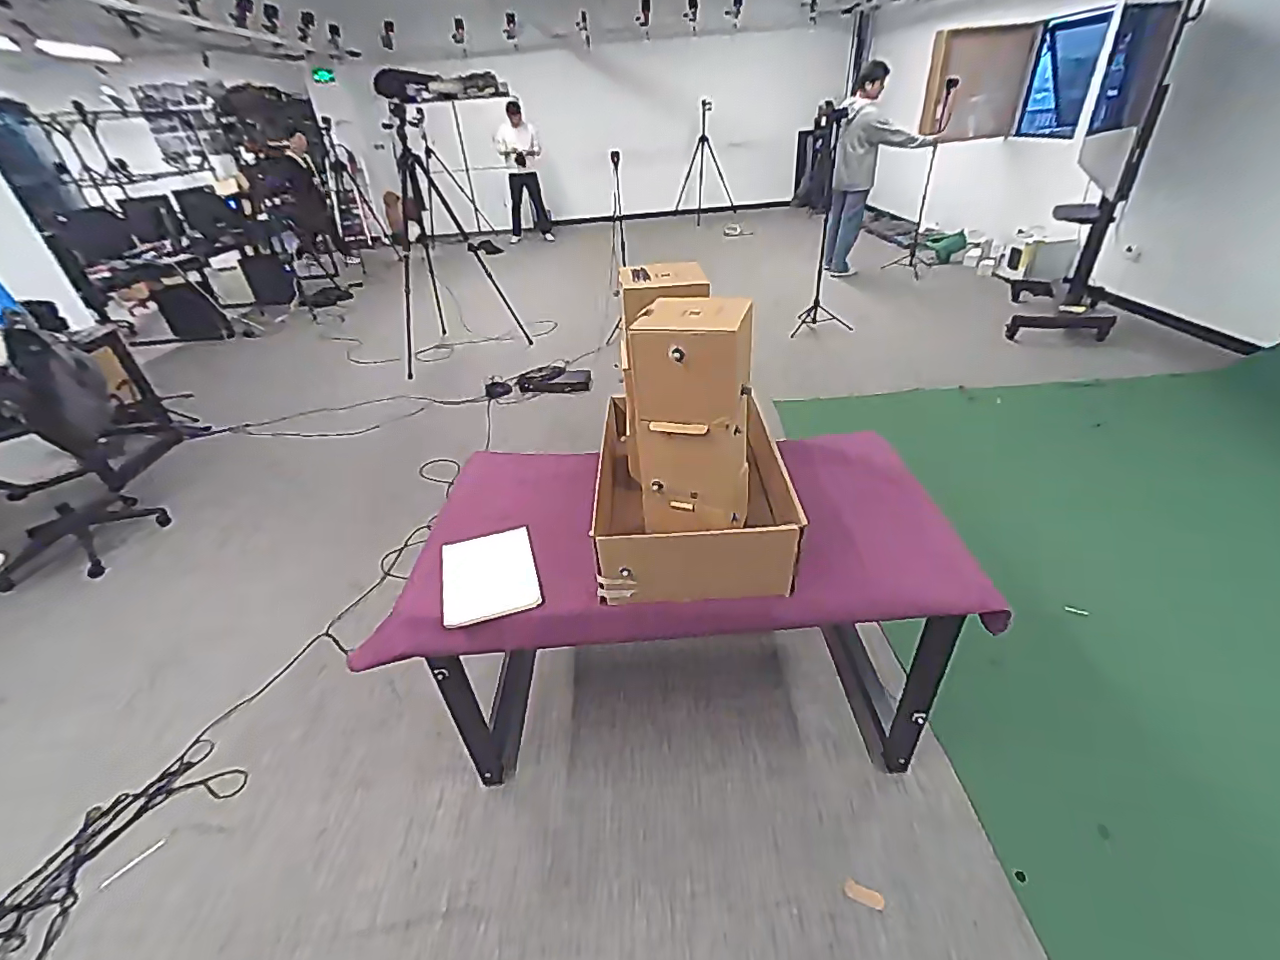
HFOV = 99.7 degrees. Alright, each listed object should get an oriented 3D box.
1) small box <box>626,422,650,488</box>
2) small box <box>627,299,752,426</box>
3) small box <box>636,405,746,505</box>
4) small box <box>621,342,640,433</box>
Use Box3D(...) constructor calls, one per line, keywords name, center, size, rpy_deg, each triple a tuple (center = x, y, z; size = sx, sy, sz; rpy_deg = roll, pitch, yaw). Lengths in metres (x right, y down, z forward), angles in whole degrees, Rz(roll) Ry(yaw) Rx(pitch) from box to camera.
Box3D(name="small box", center=(0.057, -0.090, 1.359), size=(0.168, 0.176, 0.179), rpy_deg=(-3, 36, 3))
Box3D(name="small box", center=(0.093, -0.205, 0.935), size=(0.179, 0.176, 0.168), rpy_deg=(6, 36, 19))
Box3D(name="small box", center=(0.106, -0.072, 1.028), size=(0.168, 0.176, 0.179), rpy_deg=(8, 35, 21))
Box3D(name="small box", center=(0.051, -0.220, 1.263), size=(0.179, 0.176, 0.168), rpy_deg=(-4, 36, 0))
